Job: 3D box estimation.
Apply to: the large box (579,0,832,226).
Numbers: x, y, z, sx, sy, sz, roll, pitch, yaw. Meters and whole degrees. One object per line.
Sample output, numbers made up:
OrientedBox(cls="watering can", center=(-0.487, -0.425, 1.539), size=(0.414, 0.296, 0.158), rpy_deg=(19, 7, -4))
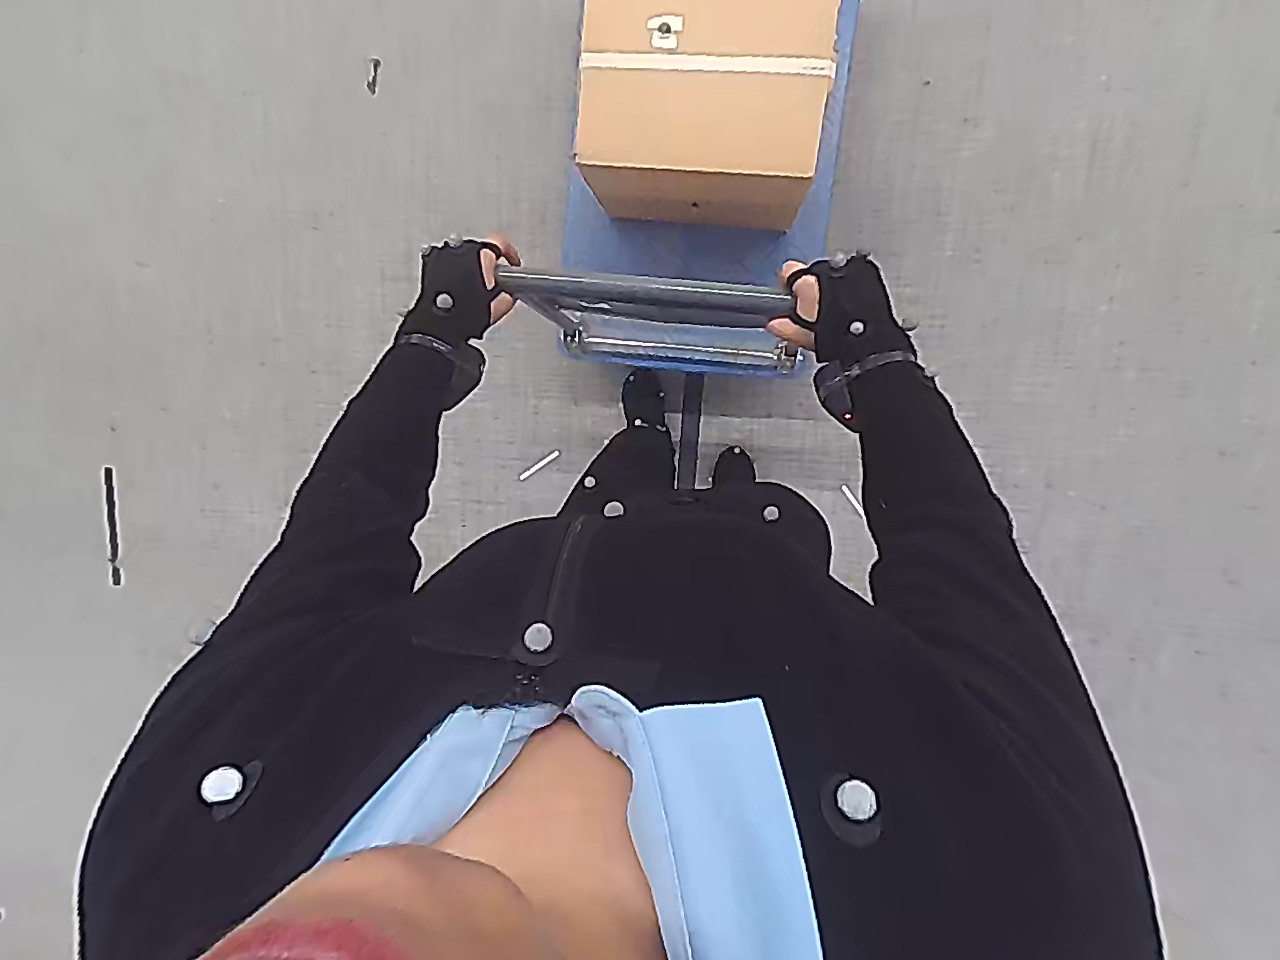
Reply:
OrientedBox(cls="large box", center=(0.124, -0.699, 1.043), size=(0.408, 0.320, 0.320), rpy_deg=(7, 99, 8))
